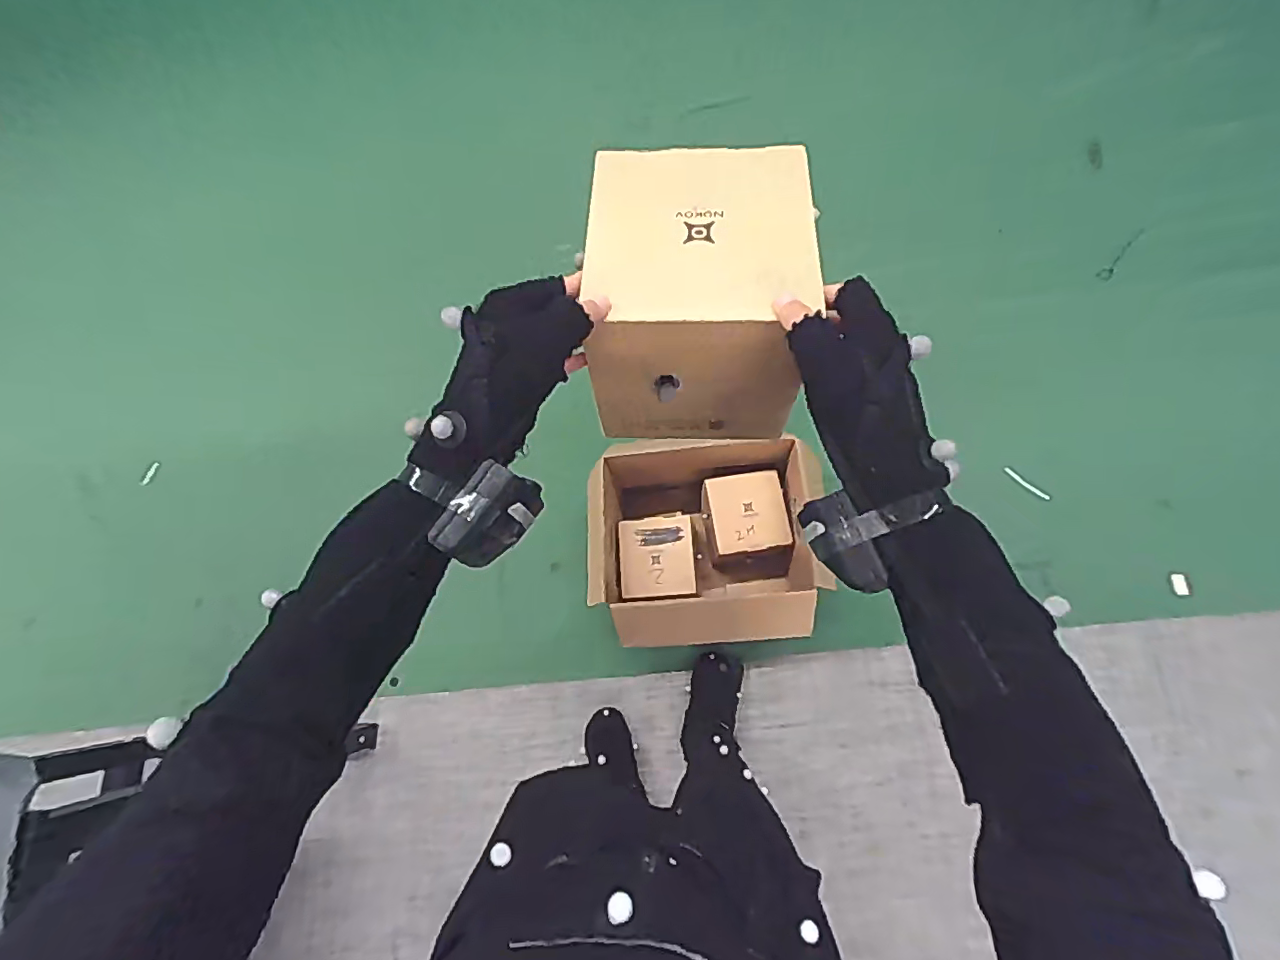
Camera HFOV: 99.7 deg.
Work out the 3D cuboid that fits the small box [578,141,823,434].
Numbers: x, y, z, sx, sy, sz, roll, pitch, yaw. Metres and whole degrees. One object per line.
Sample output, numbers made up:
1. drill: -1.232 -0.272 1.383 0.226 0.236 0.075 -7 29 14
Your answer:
1. small box: 0.048 -0.150 0.461 0.168 0.176 0.179 1 65 4
